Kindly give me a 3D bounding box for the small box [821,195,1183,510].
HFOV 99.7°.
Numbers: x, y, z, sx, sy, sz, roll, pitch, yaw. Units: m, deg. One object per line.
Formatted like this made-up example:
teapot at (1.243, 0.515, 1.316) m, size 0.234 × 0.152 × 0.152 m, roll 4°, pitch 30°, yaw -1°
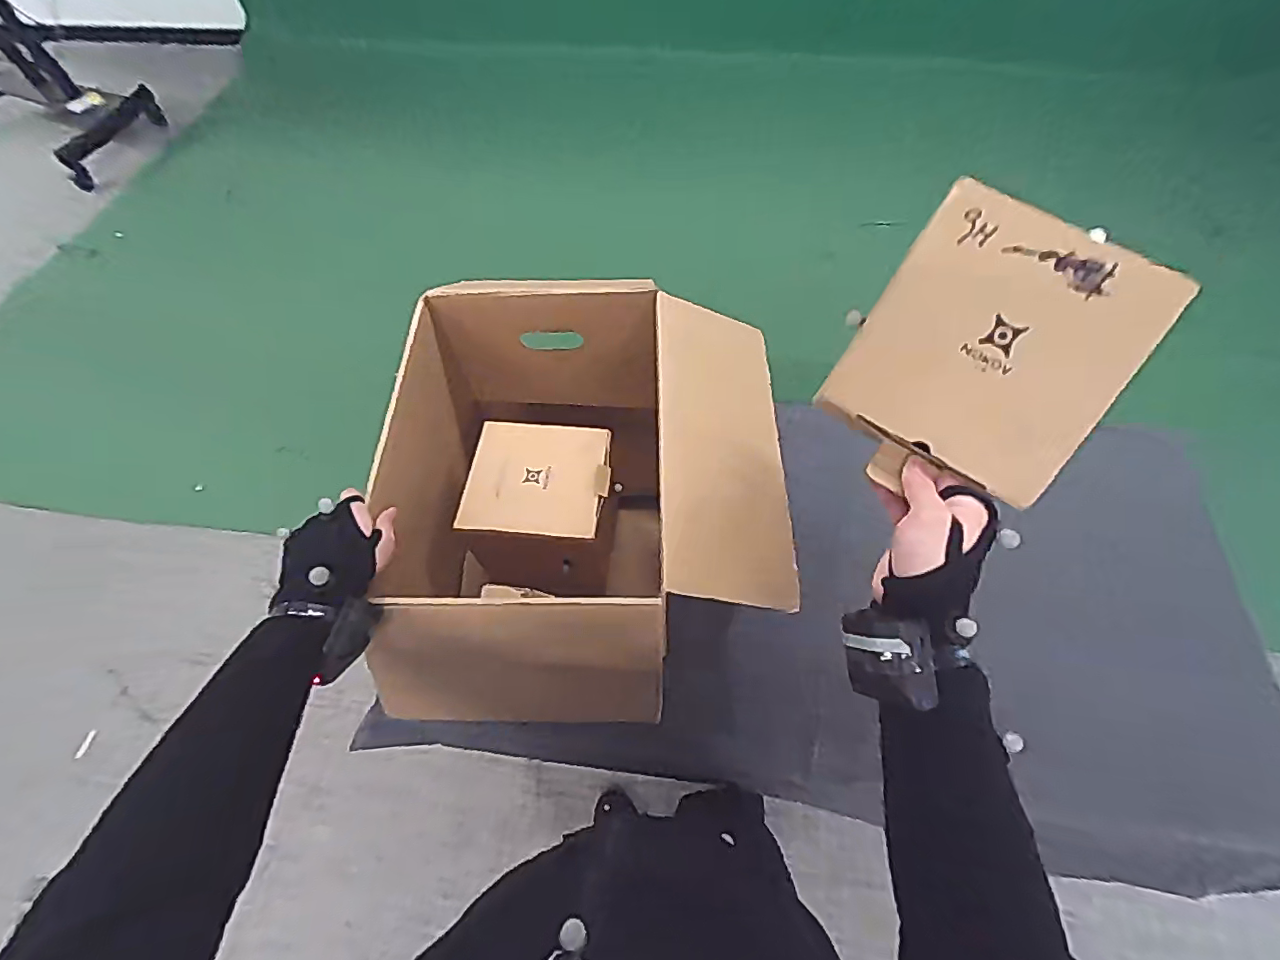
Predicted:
small box at (0.277, -0.098, 0.467) m, size 0.168 × 0.176 × 0.179 m, roll 33°, pitch 103°, yaw 12°
